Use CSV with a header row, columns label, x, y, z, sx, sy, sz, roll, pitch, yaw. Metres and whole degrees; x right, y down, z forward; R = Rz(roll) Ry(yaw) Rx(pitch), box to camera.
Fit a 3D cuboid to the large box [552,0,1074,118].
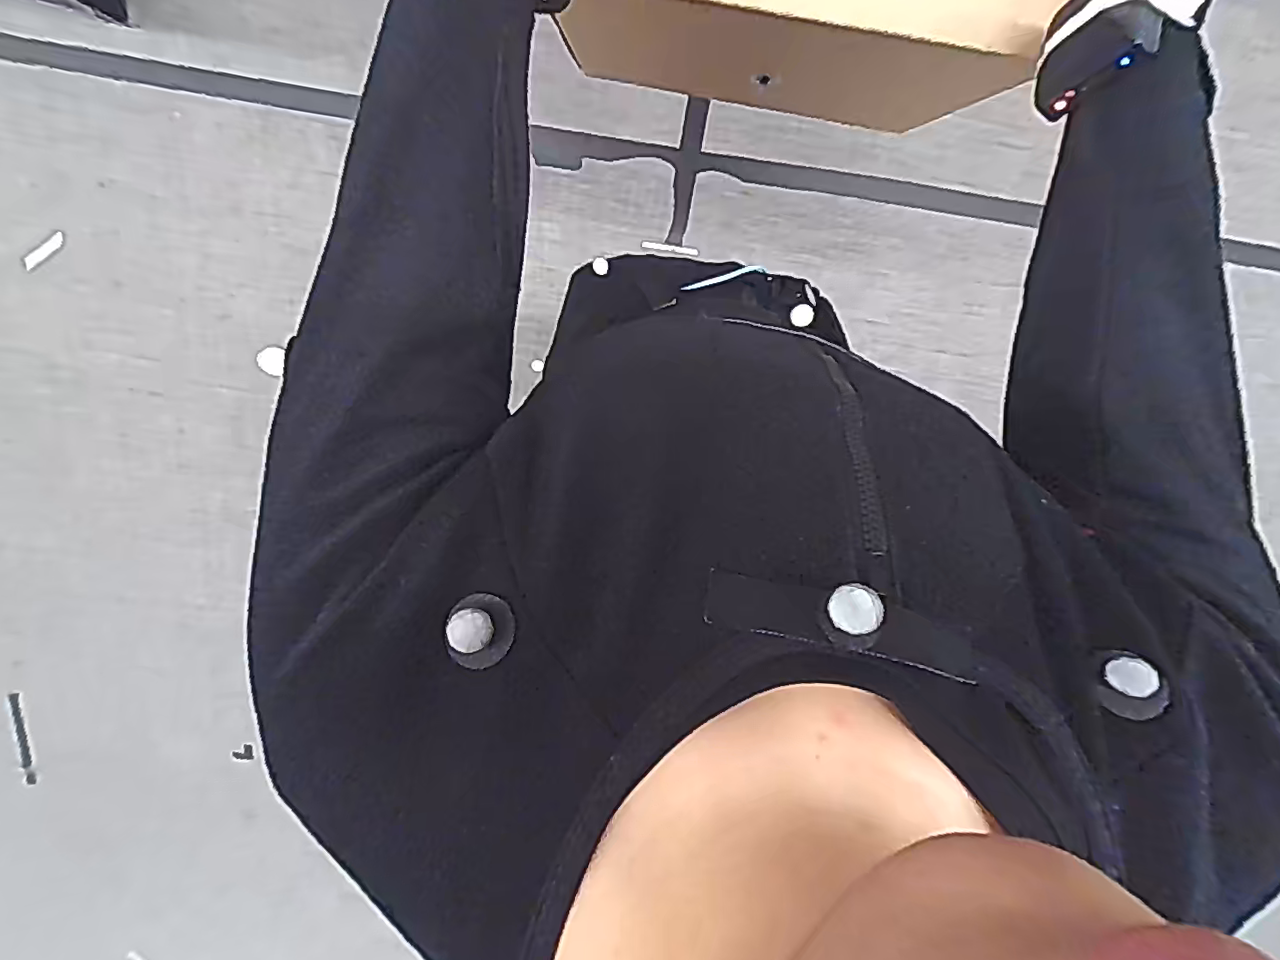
label,x,y,z,sx,sy,sz,roll,pitch,yaw
large box,0.145,-0.546,0.469,0.408,0.320,0.320,10,114,-1
